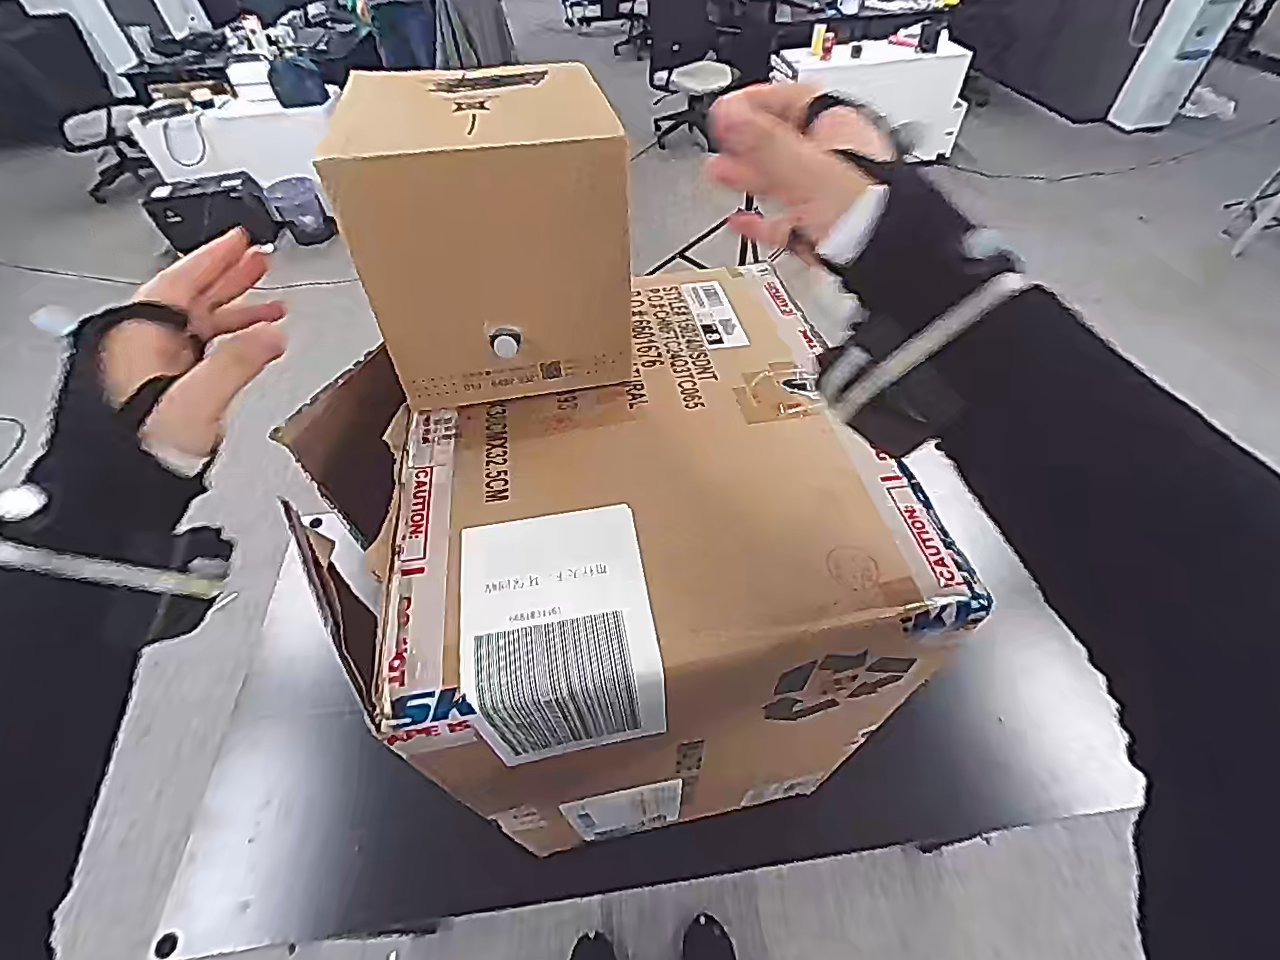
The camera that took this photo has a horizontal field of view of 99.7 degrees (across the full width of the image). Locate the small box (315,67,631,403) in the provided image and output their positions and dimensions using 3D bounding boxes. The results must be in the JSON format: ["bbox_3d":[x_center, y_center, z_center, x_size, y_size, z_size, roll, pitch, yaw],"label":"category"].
[{"bbox_3d":[-0.103,-0.181,0.398,0.168,0.176,0.179,-10,49,-8],"label":"small box"}]
